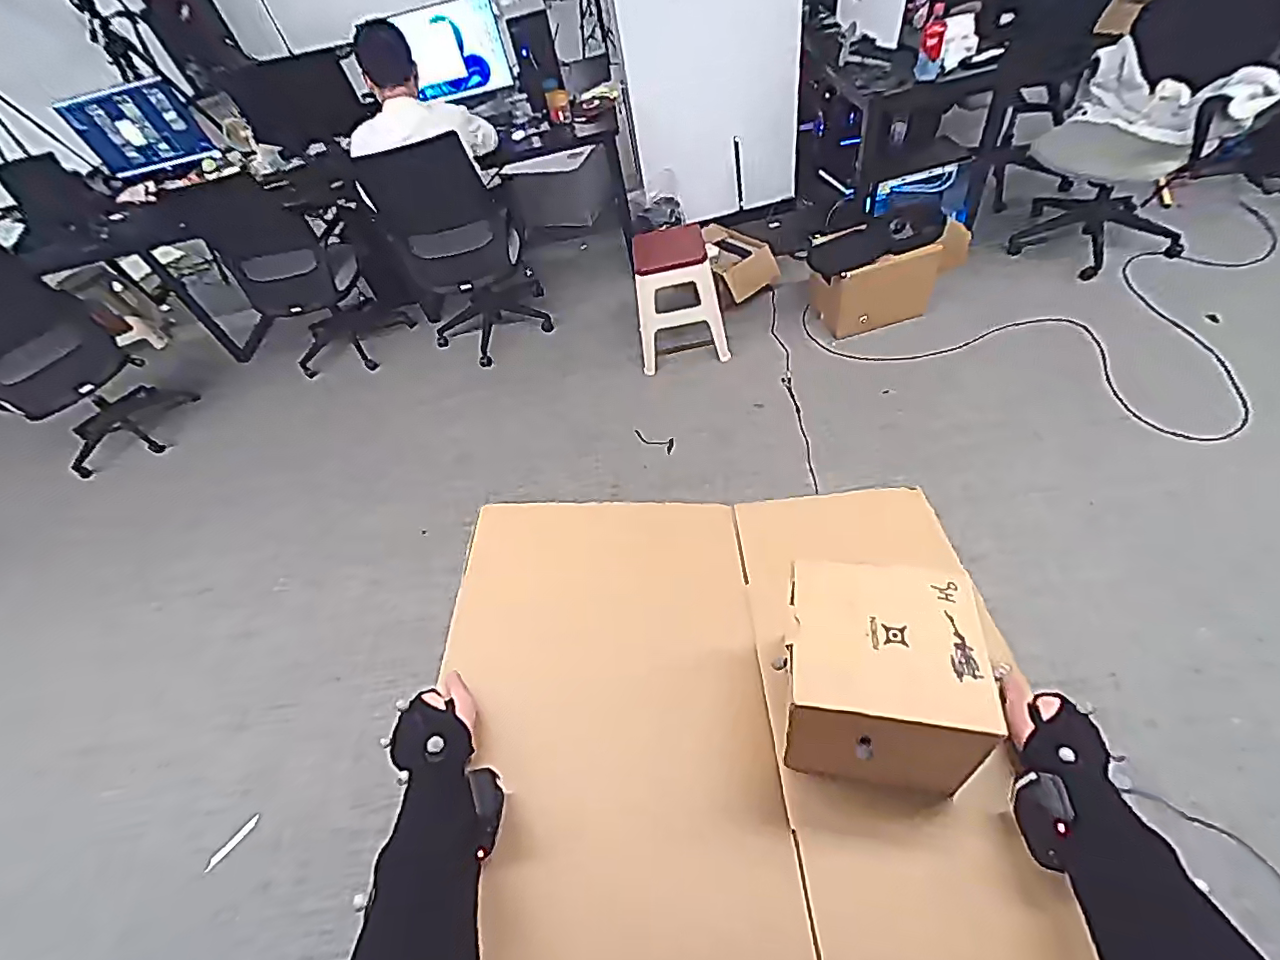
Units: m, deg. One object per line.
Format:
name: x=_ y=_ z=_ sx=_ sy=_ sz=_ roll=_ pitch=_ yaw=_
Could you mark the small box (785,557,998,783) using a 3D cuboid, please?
small box: x=0.249 y=0.204 z=0.584 sx=0.179 sy=0.176 sz=0.168 roll=3 pitch=46 yaw=15
